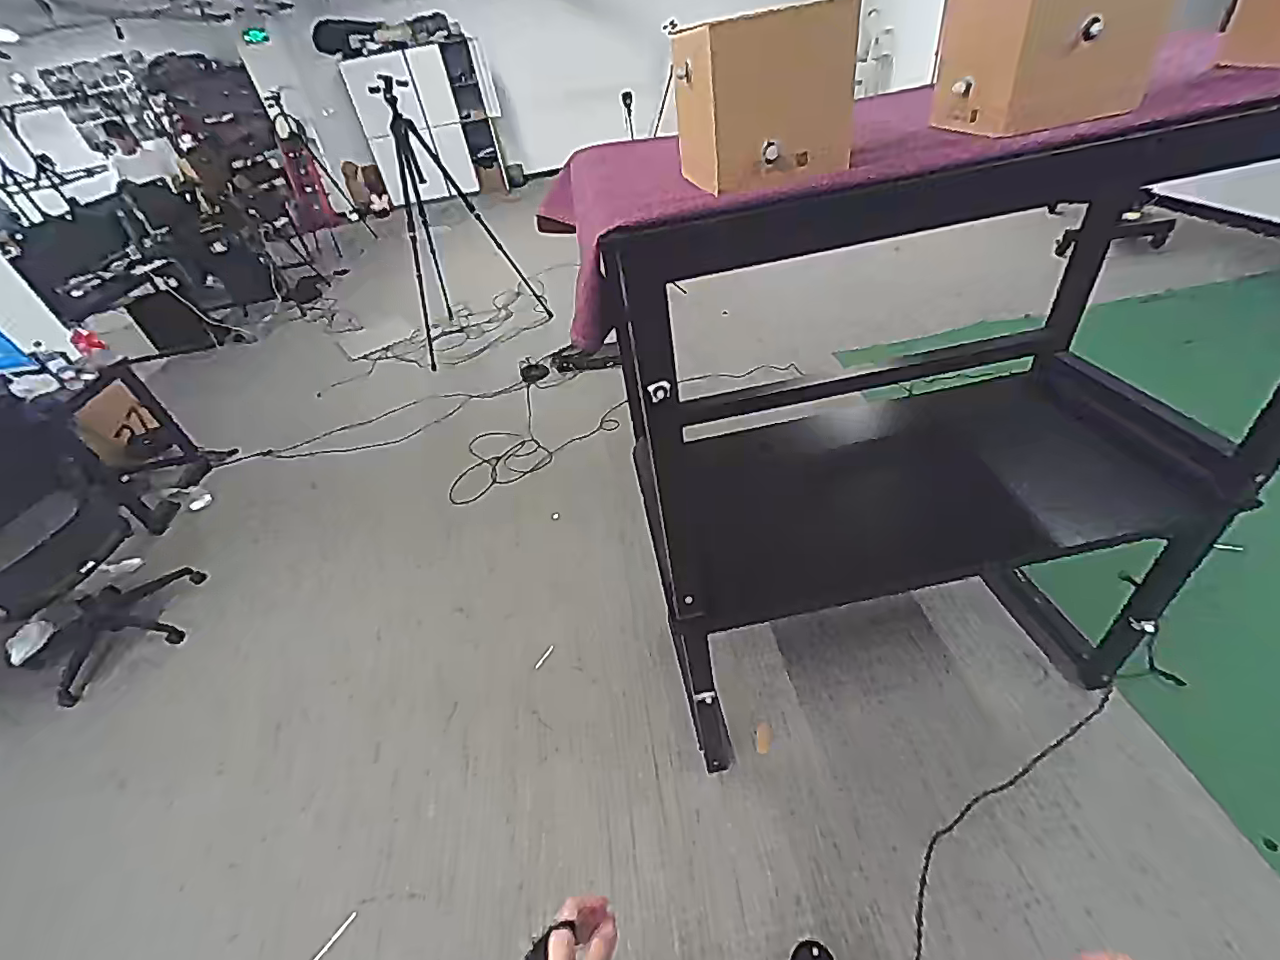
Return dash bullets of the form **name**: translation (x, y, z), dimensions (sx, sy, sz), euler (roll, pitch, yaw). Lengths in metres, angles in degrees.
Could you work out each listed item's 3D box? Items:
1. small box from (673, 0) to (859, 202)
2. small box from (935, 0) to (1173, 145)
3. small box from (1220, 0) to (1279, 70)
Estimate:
- **small box**: translation (0.143, -0.454, 0.661), dimensions (0.168, 0.176, 0.179), euler (-13, 38, -1)
- **small box**: translation (0.502, -0.540, 0.674), dimensions (0.179, 0.176, 0.168), euler (-12, 38, 1)
- **small box**: translation (0.923, -0.634, 0.685), dimensions (0.168, 0.176, 0.179), euler (-12, 40, 0)
